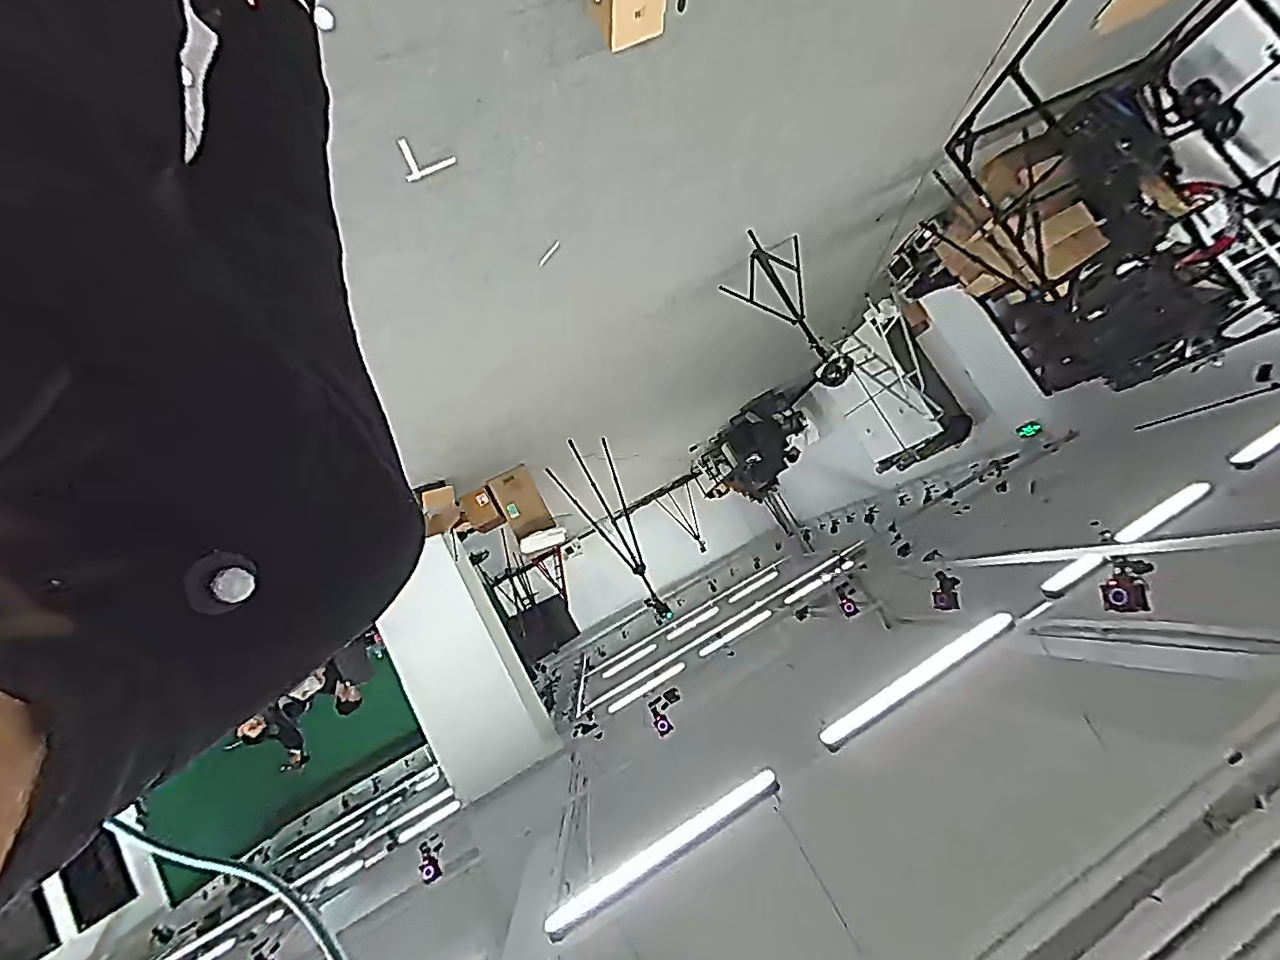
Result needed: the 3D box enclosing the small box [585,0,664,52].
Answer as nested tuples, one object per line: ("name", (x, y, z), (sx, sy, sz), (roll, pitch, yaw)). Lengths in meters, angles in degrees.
("small box", (-0.047, -1.370, 1.517), (0.179, 0.176, 0.168), (-30, 171, -9))
